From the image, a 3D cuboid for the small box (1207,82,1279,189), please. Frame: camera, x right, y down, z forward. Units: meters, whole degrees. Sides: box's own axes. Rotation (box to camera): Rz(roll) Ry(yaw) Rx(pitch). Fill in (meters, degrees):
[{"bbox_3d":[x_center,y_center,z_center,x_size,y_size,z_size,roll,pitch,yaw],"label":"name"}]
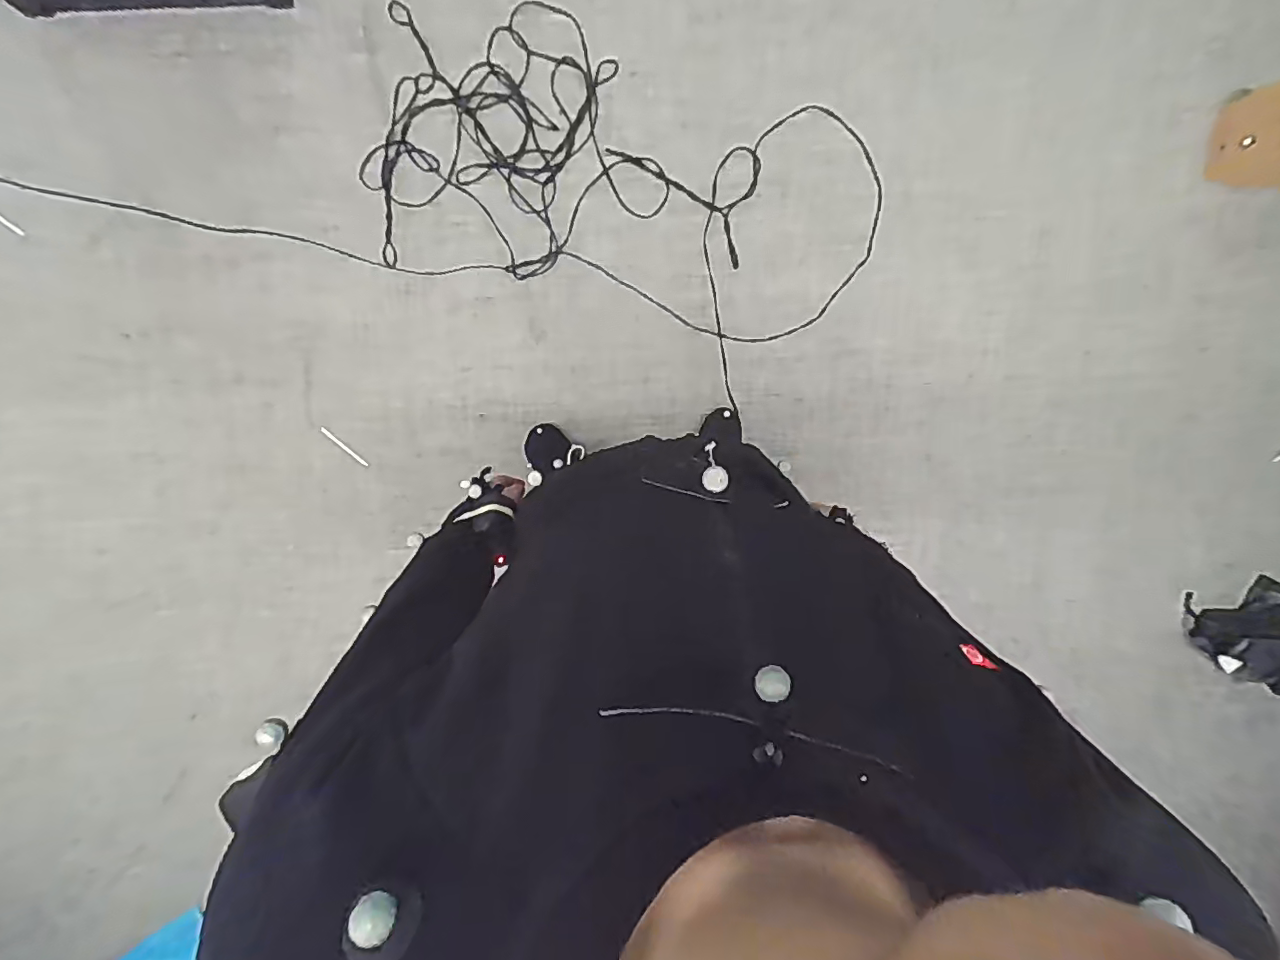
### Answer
[{"bbox_3d":[1.432,-0.764,1.192,0.179,0.176,0.168,7,100,-3],"label":"small box"}]
